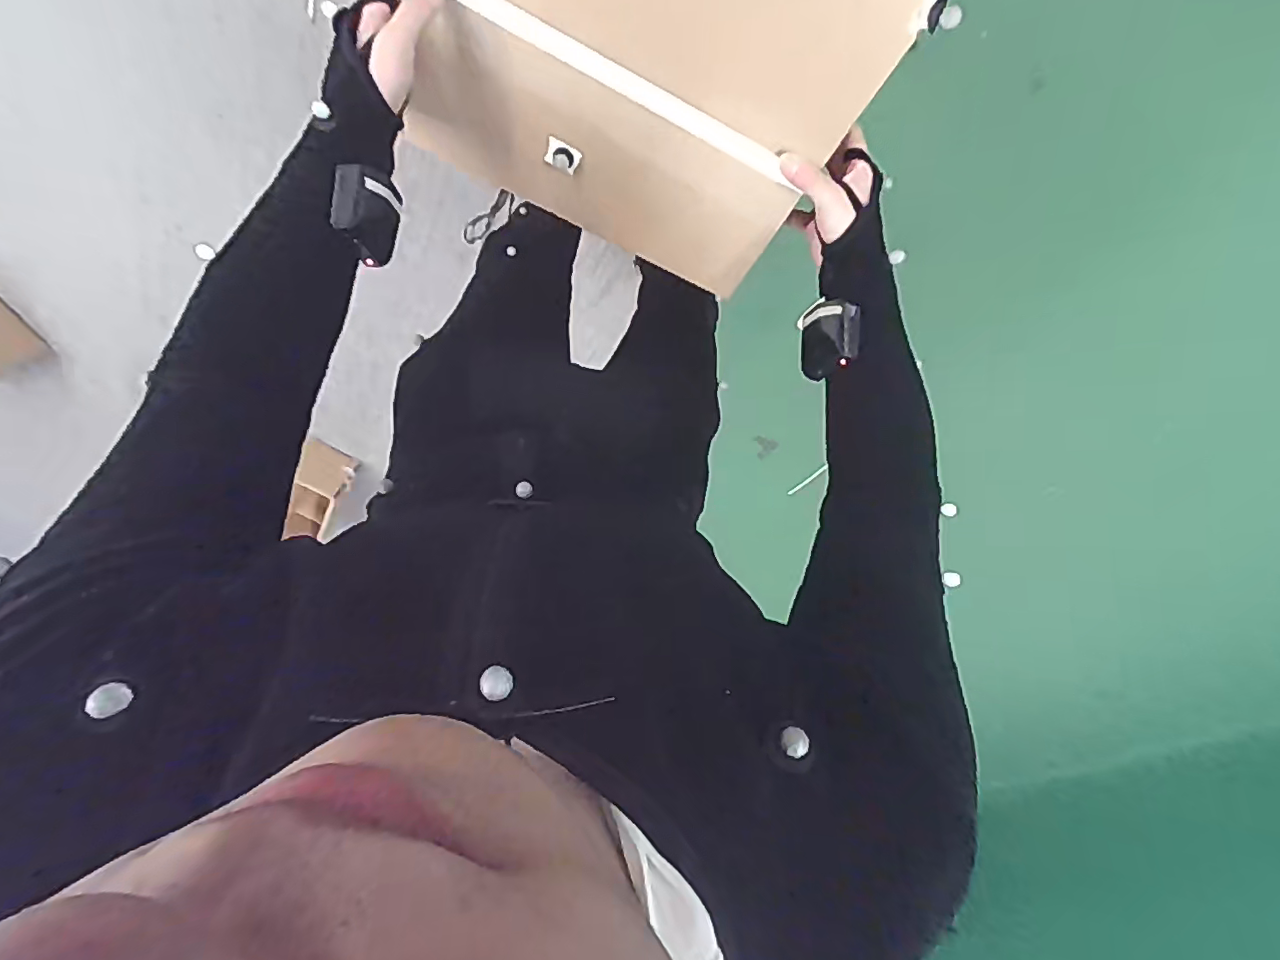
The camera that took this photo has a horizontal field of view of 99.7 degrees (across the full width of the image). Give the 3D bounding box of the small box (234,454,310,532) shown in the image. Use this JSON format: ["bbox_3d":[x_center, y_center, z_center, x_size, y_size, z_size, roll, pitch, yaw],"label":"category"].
[{"bbox_3d":[-1.307,0.045,1.911,0.168,0.176,0.179,35,126,-17],"label":"small box"}]

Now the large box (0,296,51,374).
[{"bbox_3d":[-2.121,-0.466,1.562,0.320,0.320,0.408,-6,131,16],"label":"large box"}]
